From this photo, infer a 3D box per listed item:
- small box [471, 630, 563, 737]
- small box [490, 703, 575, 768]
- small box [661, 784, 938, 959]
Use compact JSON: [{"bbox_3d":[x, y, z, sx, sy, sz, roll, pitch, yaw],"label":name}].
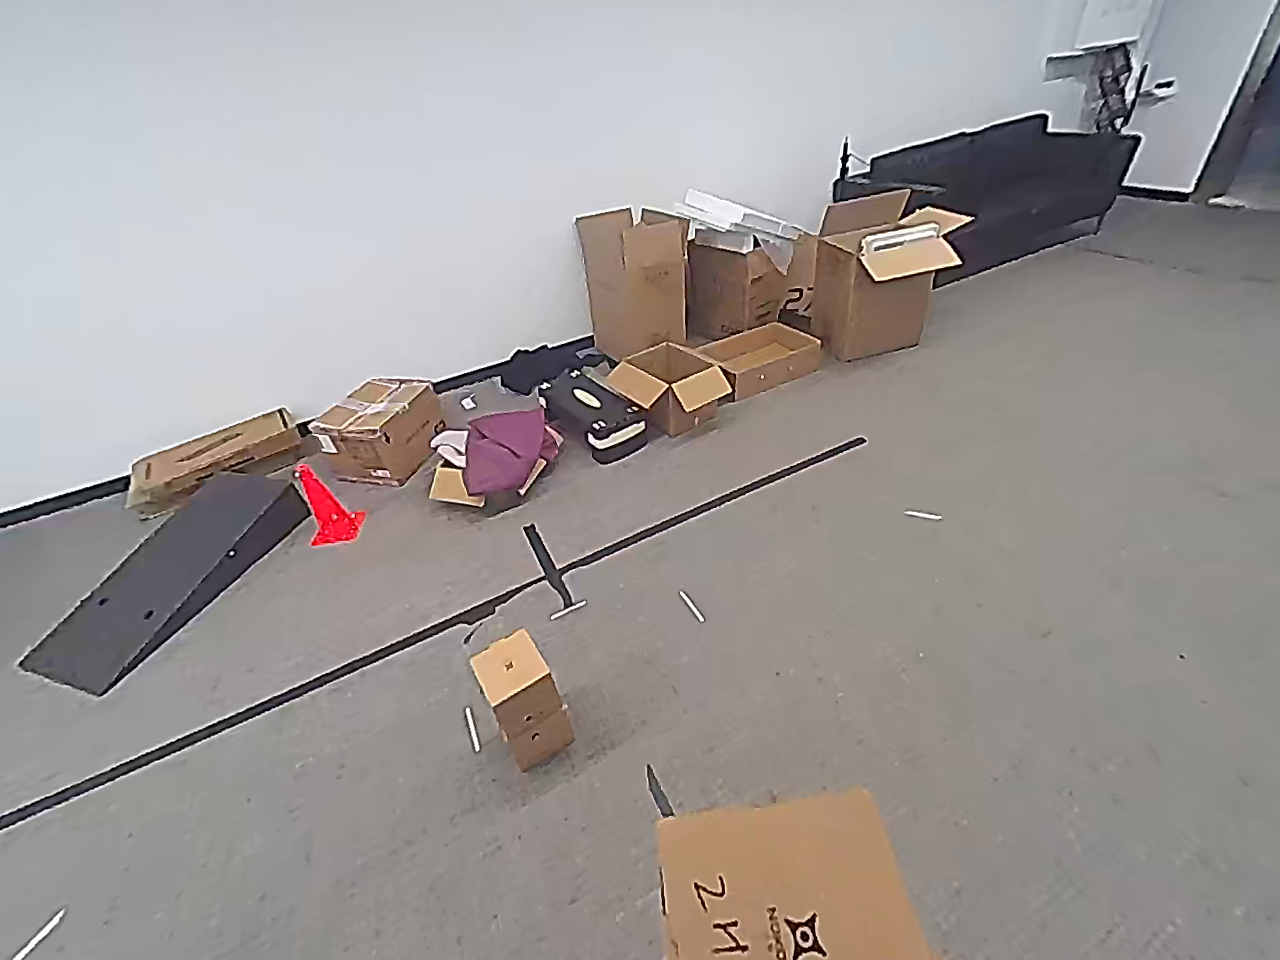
[{"bbox_3d":[-0.329,0.549,1.458,0.168,0.176,0.179,-27,43,-22],"label":"small box"},{"bbox_3d":[-0.306,0.683,1.549,0.179,0.176,0.168,-24,40,-20],"label":"small box"},{"bbox_3d":[0.118,0.367,0.434,0.179,0.176,0.168,-9,45,1],"label":"small box"}]
